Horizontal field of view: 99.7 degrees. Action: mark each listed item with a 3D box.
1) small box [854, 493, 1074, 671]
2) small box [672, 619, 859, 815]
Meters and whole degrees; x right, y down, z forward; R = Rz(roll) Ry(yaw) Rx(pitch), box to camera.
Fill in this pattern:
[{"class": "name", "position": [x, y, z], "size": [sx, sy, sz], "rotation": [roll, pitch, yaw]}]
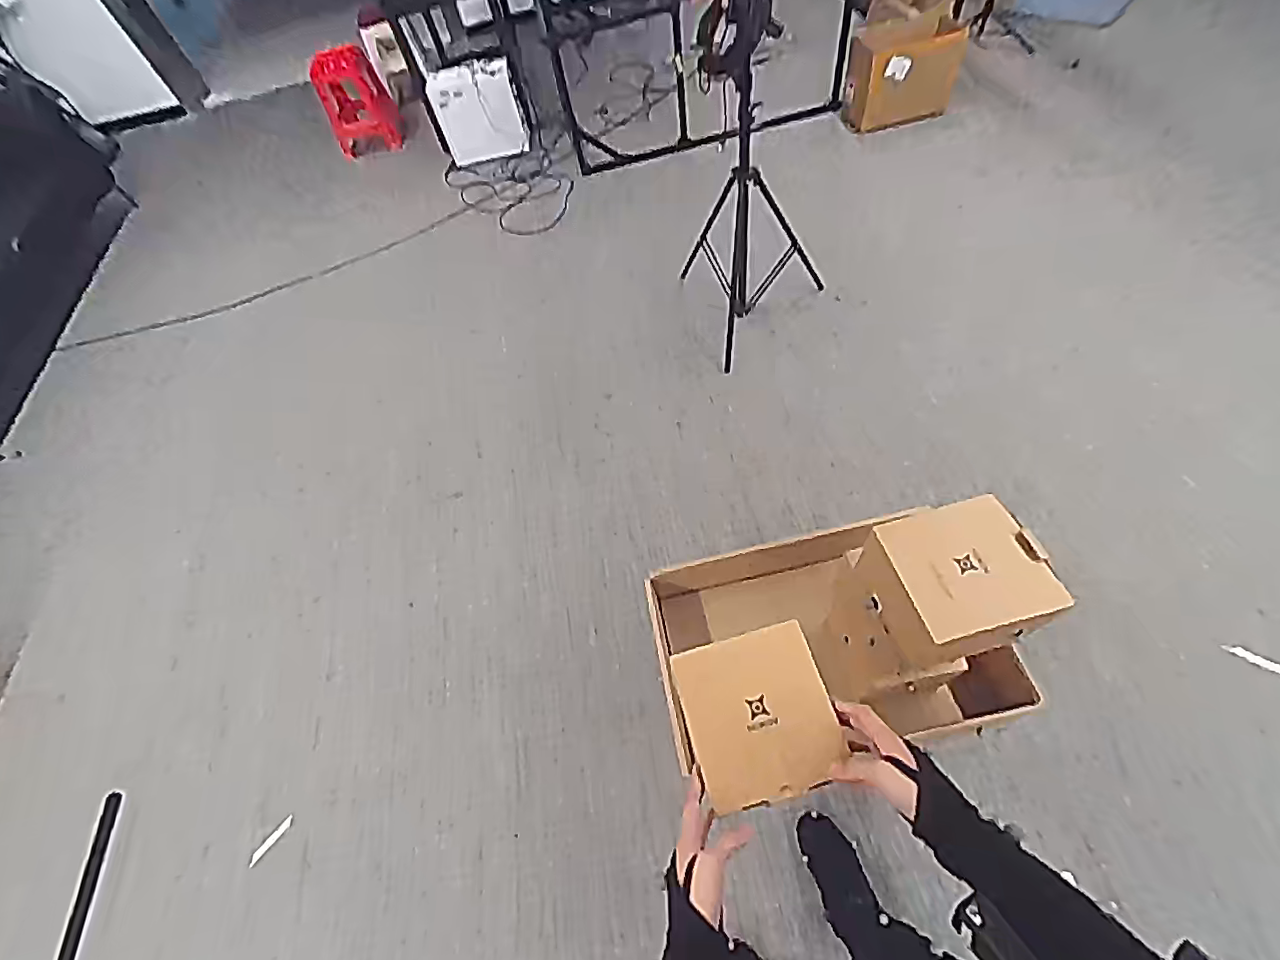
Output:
[{"class": "small box", "position": [0.423, 0.145, 0.744], "size": [0.179, 0.176, 0.168], "rotation": [-16, 56, 0]}, {"class": "small box", "position": [0.142, 0.299, 0.681], "size": [0.168, 0.176, 0.179], "rotation": [-16, 61, -2]}]
